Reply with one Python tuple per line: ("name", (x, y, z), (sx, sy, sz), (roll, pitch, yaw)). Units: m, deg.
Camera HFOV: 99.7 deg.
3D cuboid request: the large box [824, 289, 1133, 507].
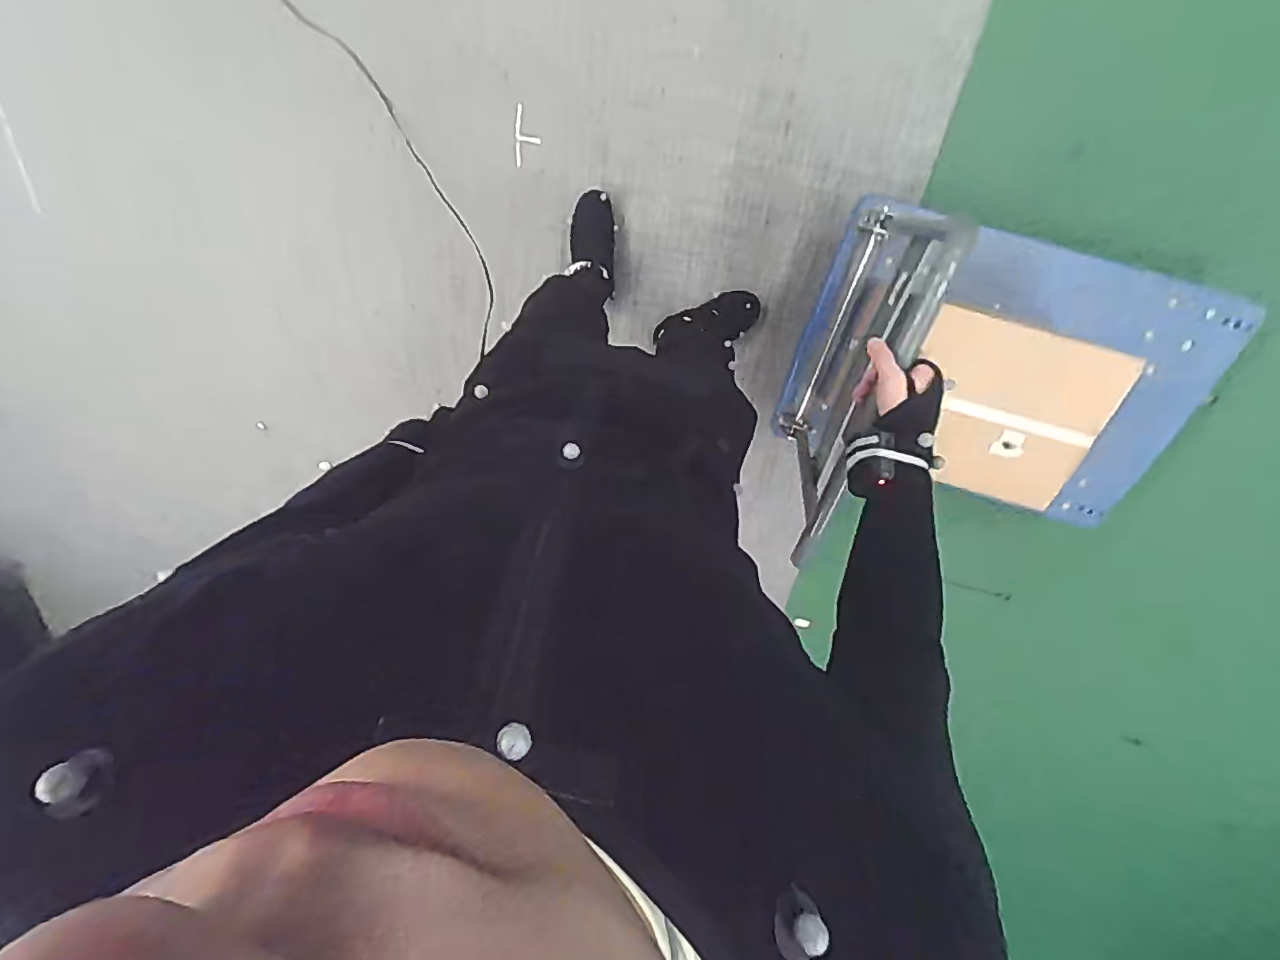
("large box", (0.659, -0.191, 1.149), (0.408, 0.320, 0.320), (17, 118, 1))
